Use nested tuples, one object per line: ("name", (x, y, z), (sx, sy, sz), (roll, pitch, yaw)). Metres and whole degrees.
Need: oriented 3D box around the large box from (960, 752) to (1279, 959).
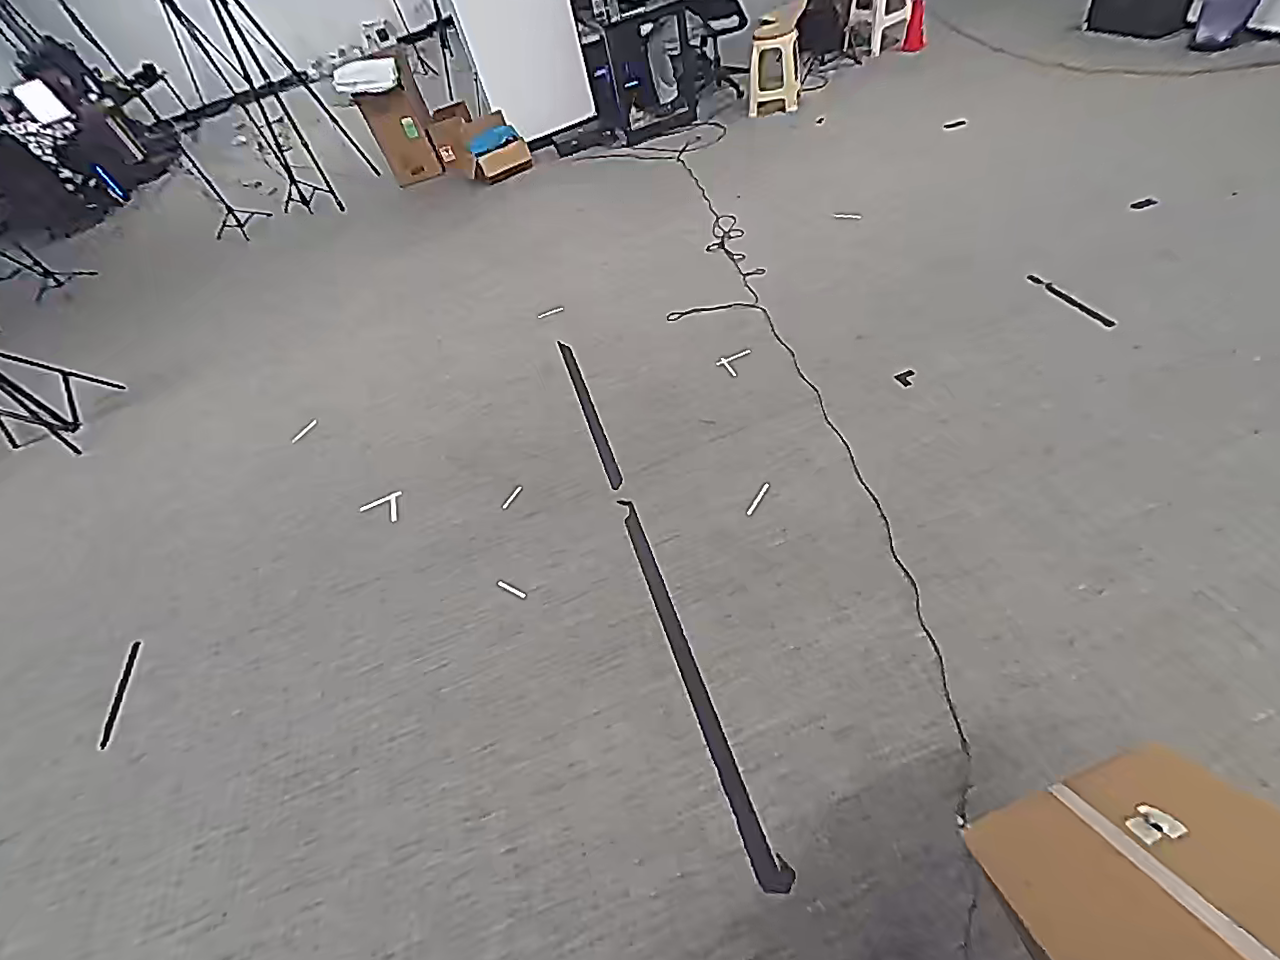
("large box", (0.664, 0.591, 0.596), (0.320, 0.408, 0.320), (-28, 84, 5))
